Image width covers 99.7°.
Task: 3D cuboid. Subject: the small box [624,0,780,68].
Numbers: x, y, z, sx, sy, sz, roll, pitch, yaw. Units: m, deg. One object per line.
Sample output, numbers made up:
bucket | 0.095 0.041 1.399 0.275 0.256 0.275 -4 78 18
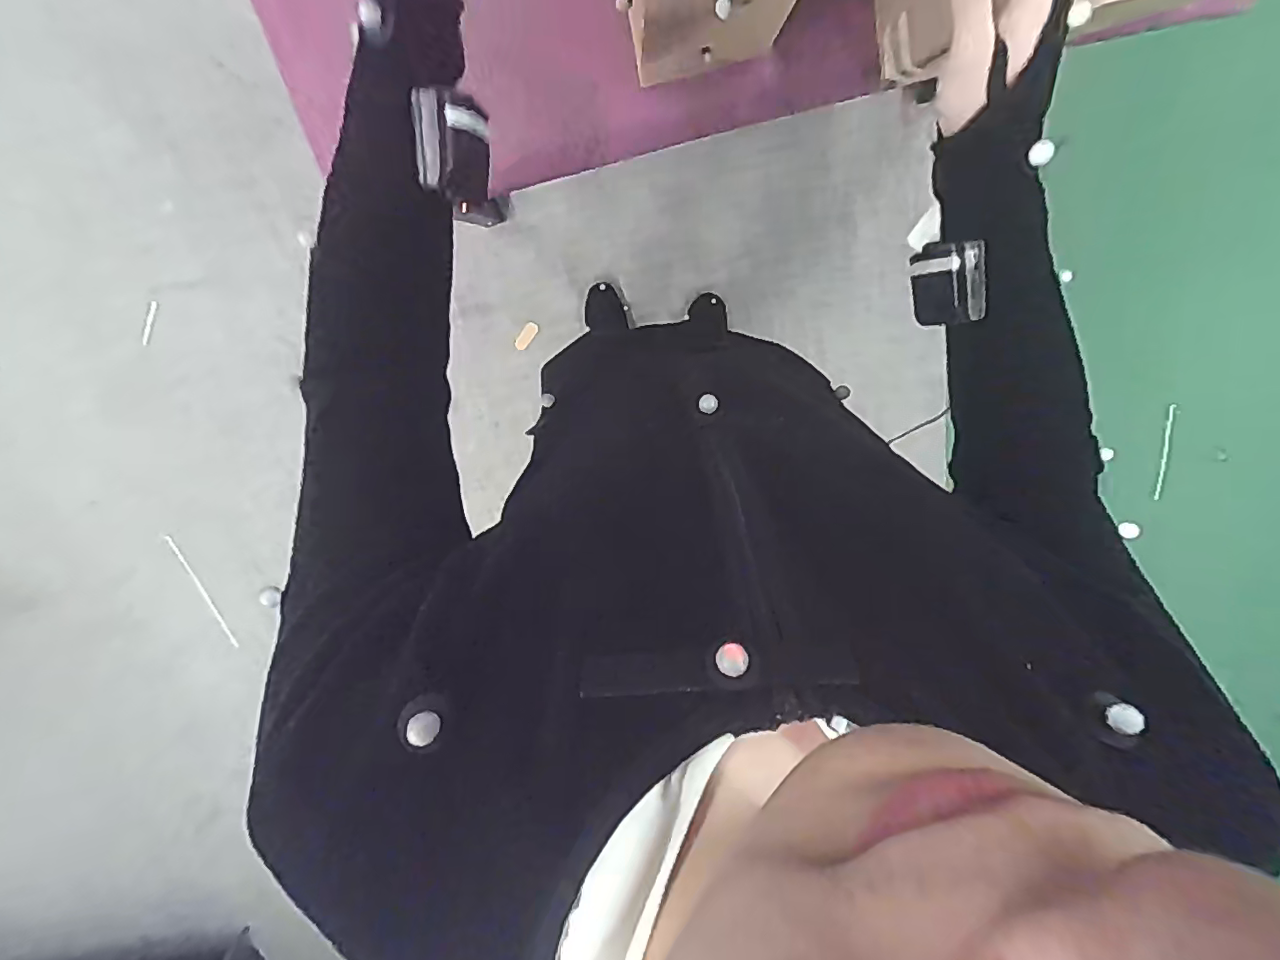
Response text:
small box | 0.062 -0.585 0.591 0.168 0.176 0.179 -11 112 4

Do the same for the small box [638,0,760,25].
small box | 0.063 -0.524 0.439 0.168 0.176 0.179 -11 112 5
